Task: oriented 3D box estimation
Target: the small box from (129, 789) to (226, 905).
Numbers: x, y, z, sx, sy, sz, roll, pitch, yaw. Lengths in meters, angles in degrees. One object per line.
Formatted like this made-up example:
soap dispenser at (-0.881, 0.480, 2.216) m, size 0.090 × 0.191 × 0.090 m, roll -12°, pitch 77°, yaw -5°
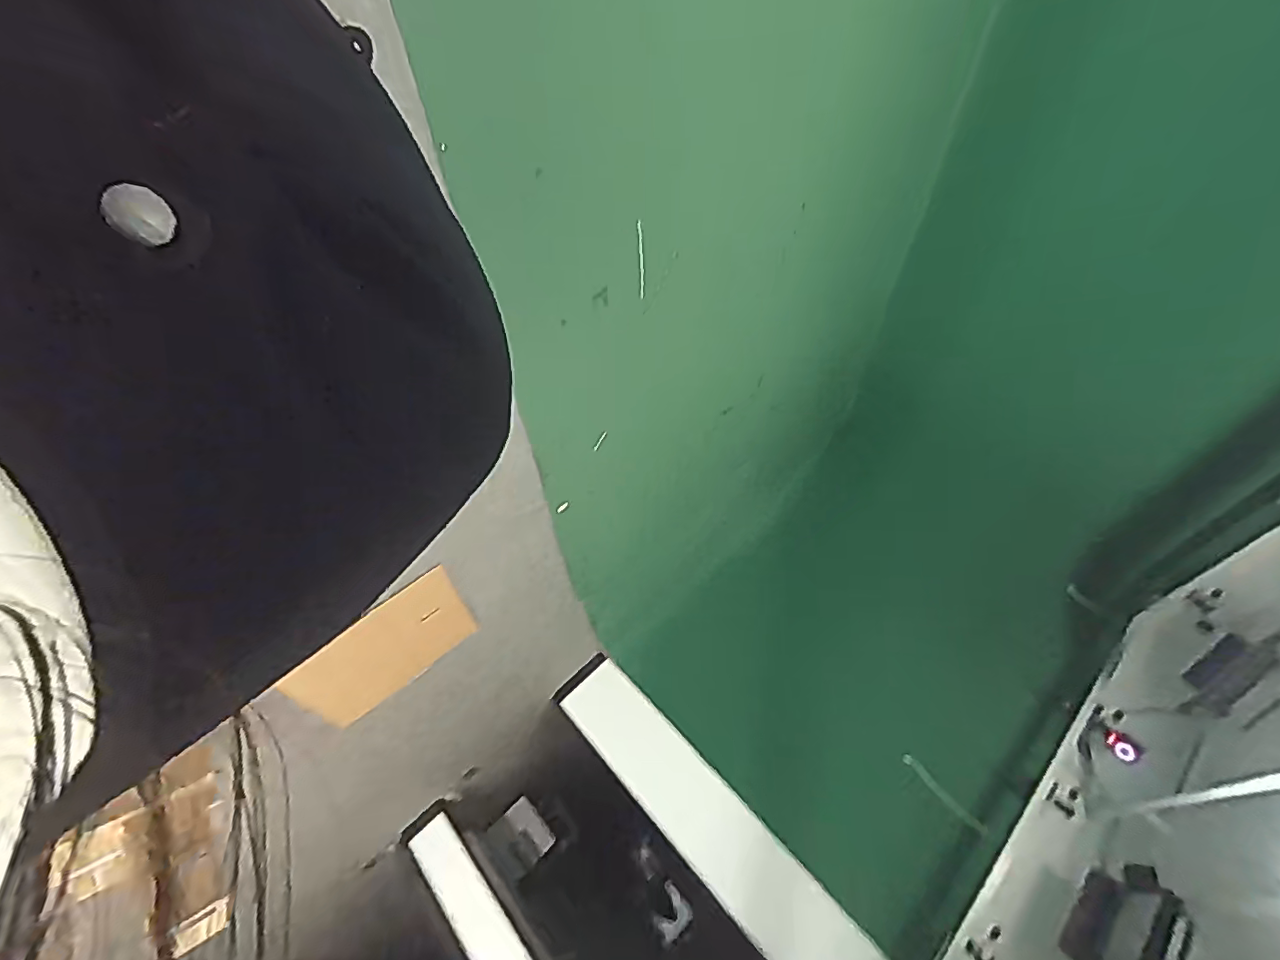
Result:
small box at (-1.286, 1.008, 1.503) m, size 0.179 × 0.176 × 0.168 m, roll -9°, pitch 132°, yaw -49°

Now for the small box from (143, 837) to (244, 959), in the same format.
small box at (-1.167, 1.087, 1.416) m, size 0.168 × 0.176 × 0.179 m, roll -17°, pitch 134°, yaw -46°
